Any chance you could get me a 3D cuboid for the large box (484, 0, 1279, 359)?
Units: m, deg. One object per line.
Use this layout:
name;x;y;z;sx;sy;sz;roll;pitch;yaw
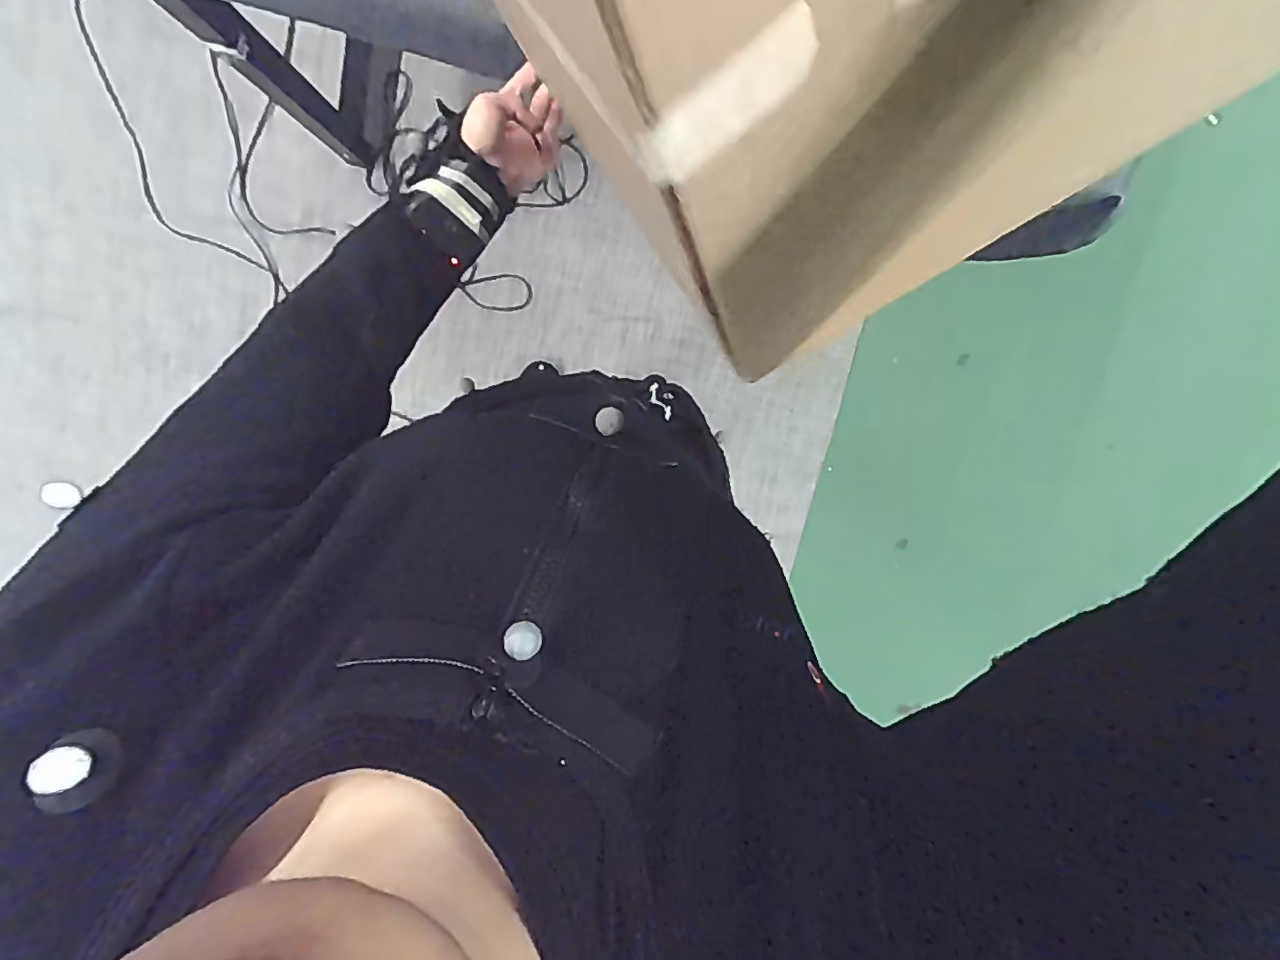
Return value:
large box;0.058;-0.341;0.242;0.320;0.320;0.408;-33;64;8
